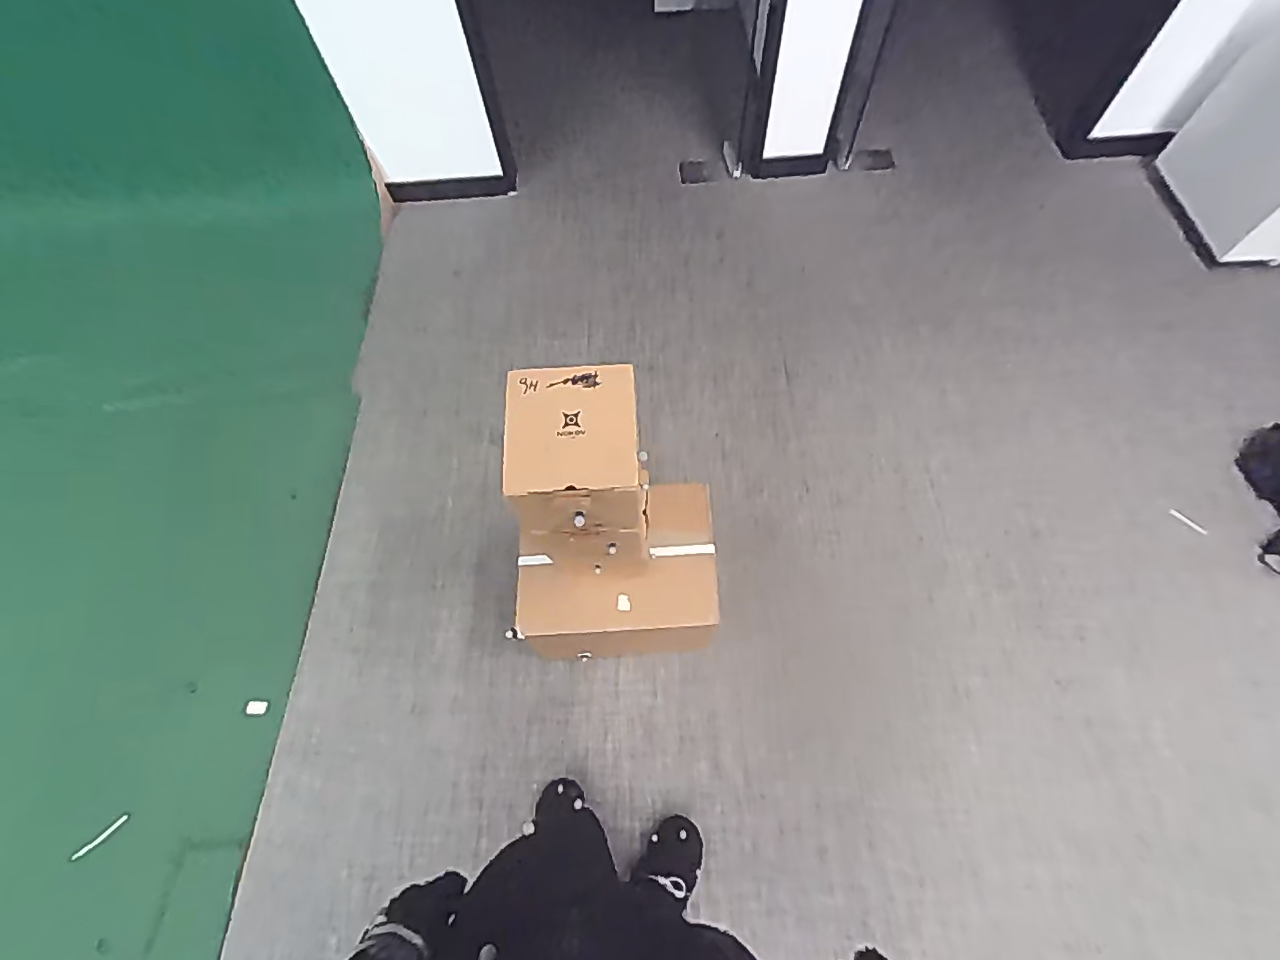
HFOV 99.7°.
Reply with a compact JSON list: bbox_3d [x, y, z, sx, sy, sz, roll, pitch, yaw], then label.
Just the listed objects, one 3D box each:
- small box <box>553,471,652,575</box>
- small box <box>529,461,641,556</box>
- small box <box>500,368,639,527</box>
[{"bbox_3d":[-0.069,0.089,1.058,0.179,0.176,0.168,-3,70,1],"label":"small box"},{"bbox_3d":[-0.085,0.028,0.909,0.168,0.176,0.179,-3,68,1],"label":"small box"},{"bbox_3d":[-0.090,-0.034,0.757,0.168,0.176,0.179,-3,70,1],"label":"small box"}]
